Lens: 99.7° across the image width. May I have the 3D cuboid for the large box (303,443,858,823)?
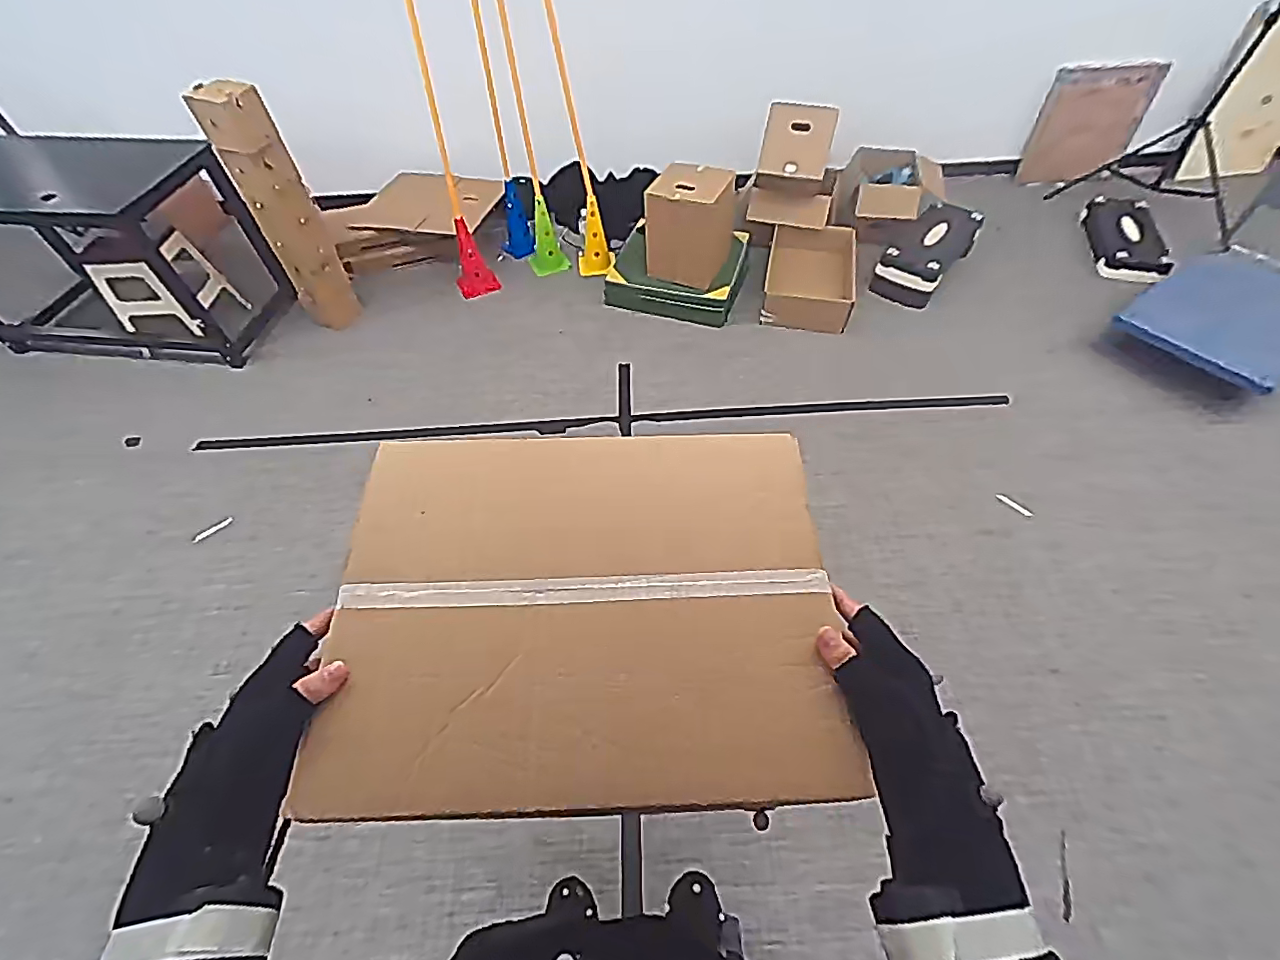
[{"bbox_3d":[-0.046,0.175,0.586,0.408,0.320,0.320,-1,58,-2],"label":"large box"}]

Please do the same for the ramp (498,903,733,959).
[{"bbox_3d":[-0.032,1.363,0.935,0.509,0.206,0.991,-3,54,-3],"label":"ramp"}]
